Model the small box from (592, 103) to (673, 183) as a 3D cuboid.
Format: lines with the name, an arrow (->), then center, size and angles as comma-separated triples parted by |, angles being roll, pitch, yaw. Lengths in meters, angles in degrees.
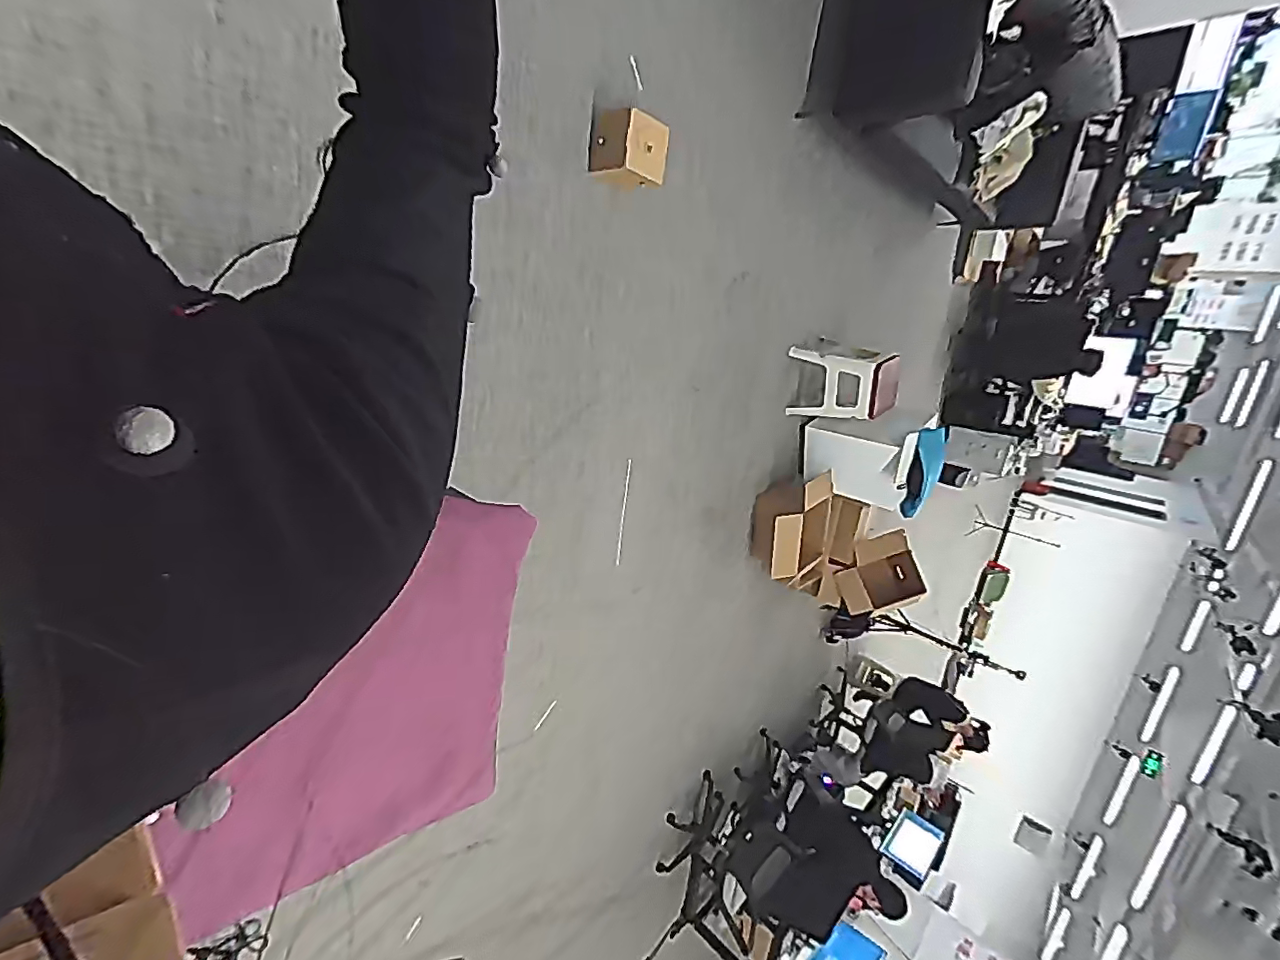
small box -> -0.024, -1.052, 1.704 | 0.179, 0.176, 0.168 | -7, 111, -46

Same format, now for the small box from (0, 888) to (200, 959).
small box -> -0.372, 0.413, 0.326 | 0.168, 0.176, 0.179 | 2, 106, -49

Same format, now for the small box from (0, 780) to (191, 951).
small box -> -0.493, 0.389, 0.437 | 0.179, 0.176, 0.168 | -2, 108, -48
